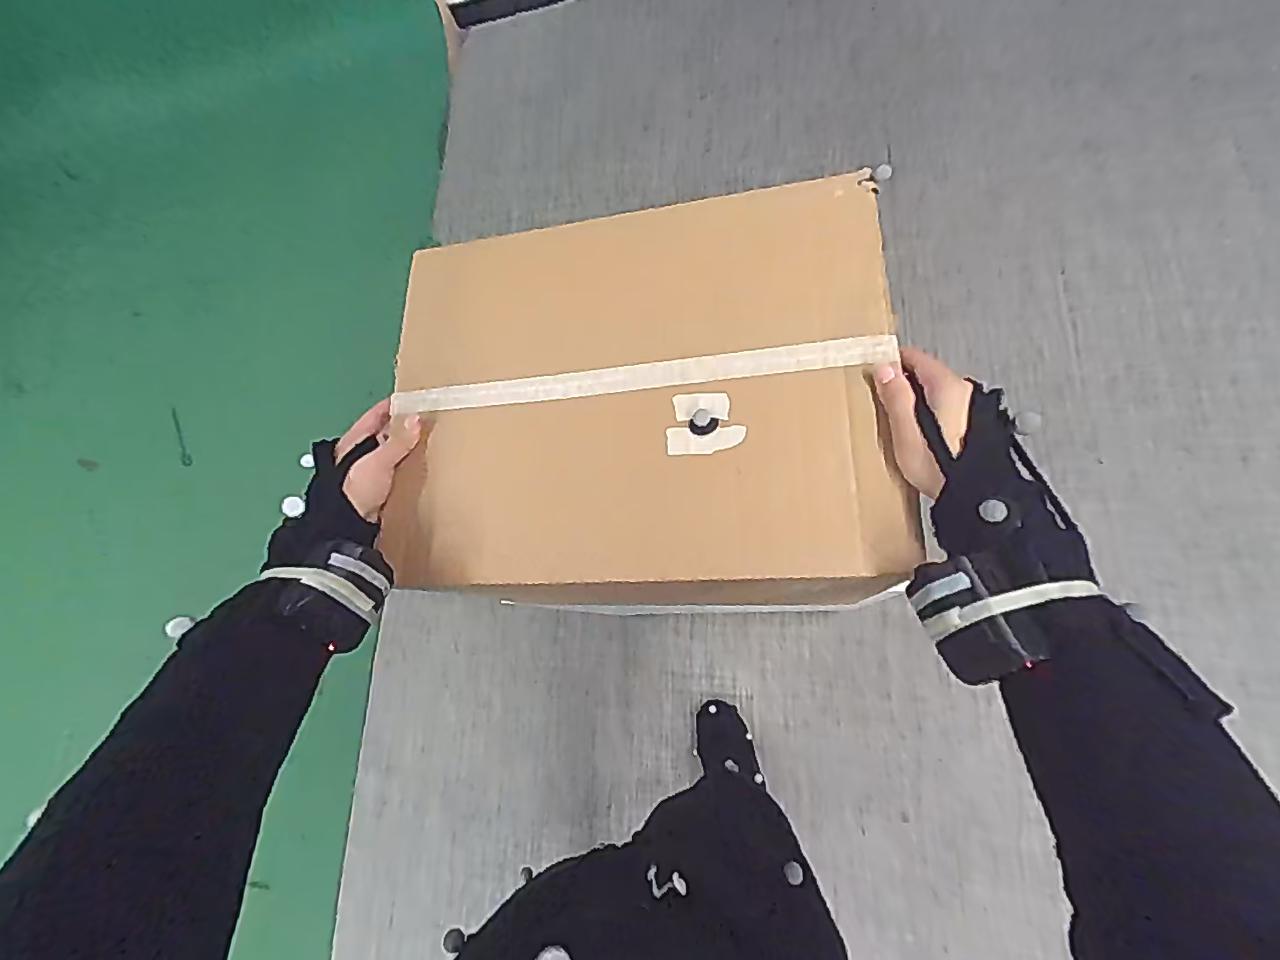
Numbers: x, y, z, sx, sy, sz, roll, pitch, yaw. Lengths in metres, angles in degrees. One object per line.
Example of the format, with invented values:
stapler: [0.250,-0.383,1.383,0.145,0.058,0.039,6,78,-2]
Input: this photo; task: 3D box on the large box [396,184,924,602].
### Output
large box: [0.024,-0.041,0.576,0.408,0.320,0.320,-4,75,12]
